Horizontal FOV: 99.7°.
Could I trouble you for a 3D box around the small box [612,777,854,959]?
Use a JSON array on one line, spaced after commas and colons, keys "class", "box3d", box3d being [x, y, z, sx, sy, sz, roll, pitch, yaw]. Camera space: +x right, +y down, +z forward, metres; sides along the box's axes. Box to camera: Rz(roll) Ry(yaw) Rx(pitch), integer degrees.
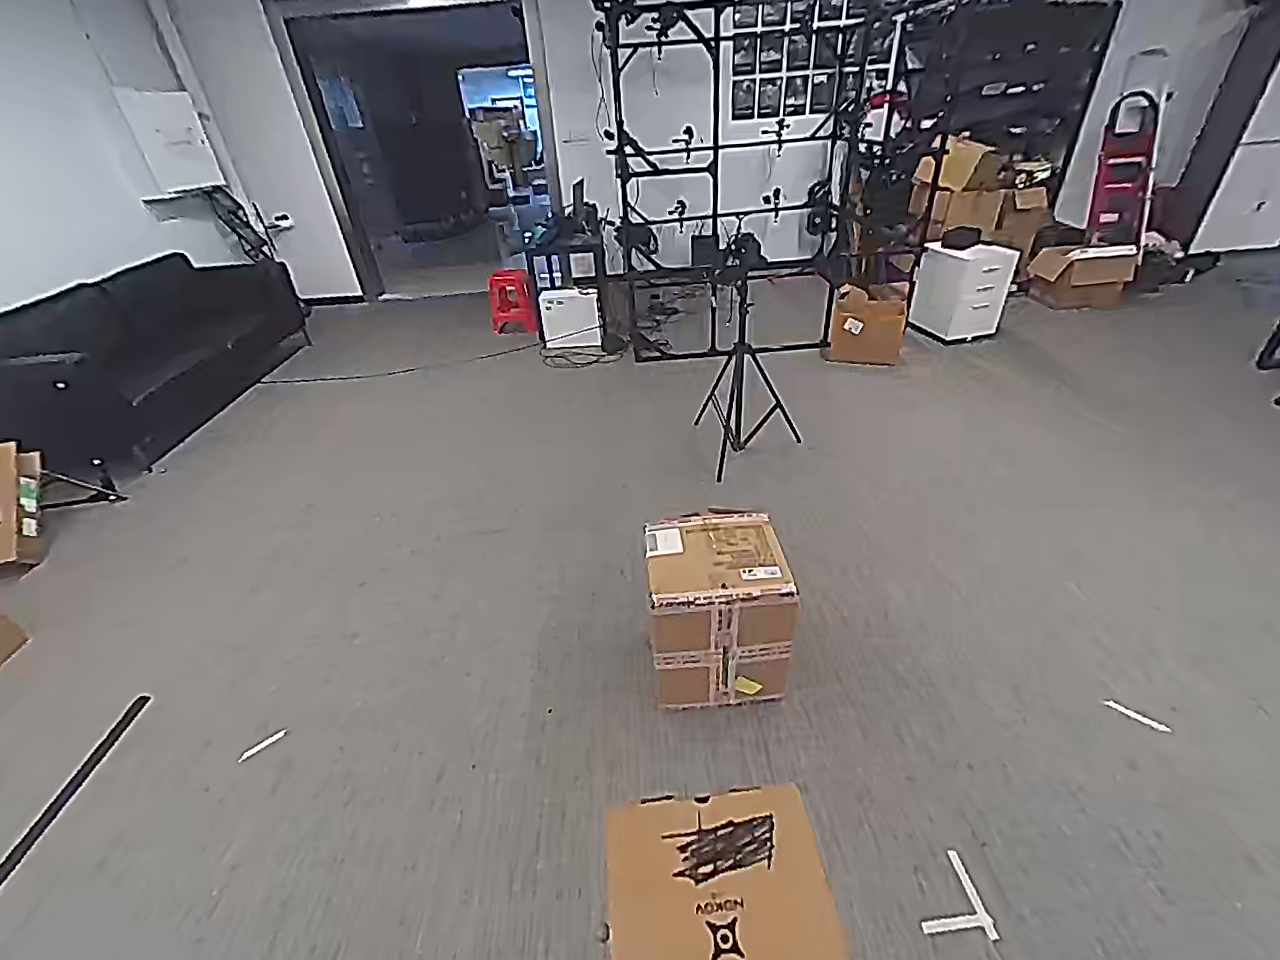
[{"class": "small box", "box3d": [0.064, 0.376, 0.442, 0.168, 0.176, 0.179, -5, 40, -4]}]
